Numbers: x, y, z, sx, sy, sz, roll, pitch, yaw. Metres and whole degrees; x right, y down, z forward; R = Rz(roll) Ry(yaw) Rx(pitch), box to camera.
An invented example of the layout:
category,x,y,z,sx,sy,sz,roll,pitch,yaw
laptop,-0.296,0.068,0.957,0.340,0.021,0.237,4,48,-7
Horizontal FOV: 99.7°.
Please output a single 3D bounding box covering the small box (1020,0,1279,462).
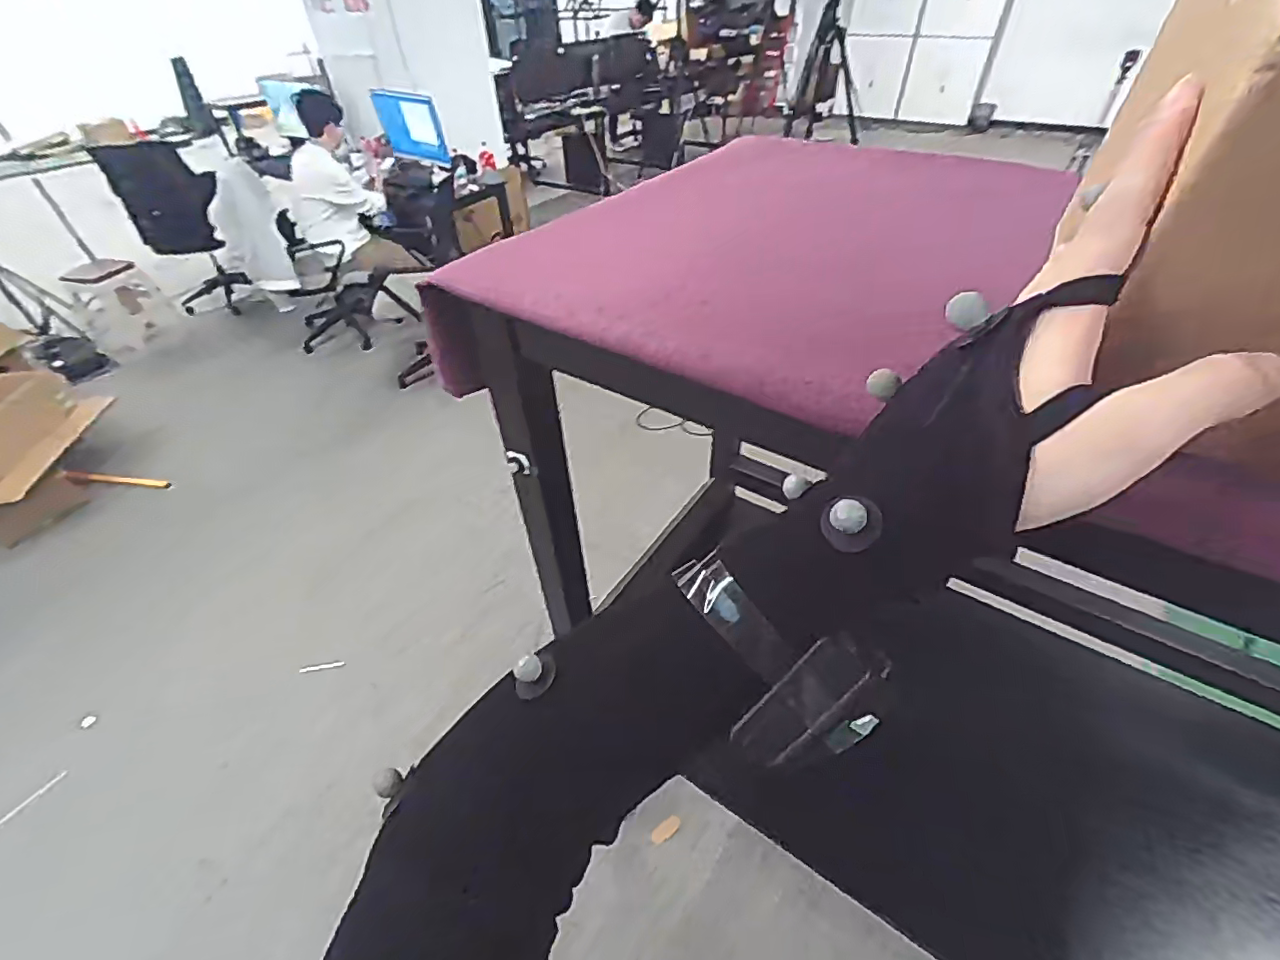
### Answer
category,x,y,z,sx,sy,sz,roll,pitch,yaw
small box,0.284,-0.118,0.210,0.179,0.176,0.168,18,65,21
